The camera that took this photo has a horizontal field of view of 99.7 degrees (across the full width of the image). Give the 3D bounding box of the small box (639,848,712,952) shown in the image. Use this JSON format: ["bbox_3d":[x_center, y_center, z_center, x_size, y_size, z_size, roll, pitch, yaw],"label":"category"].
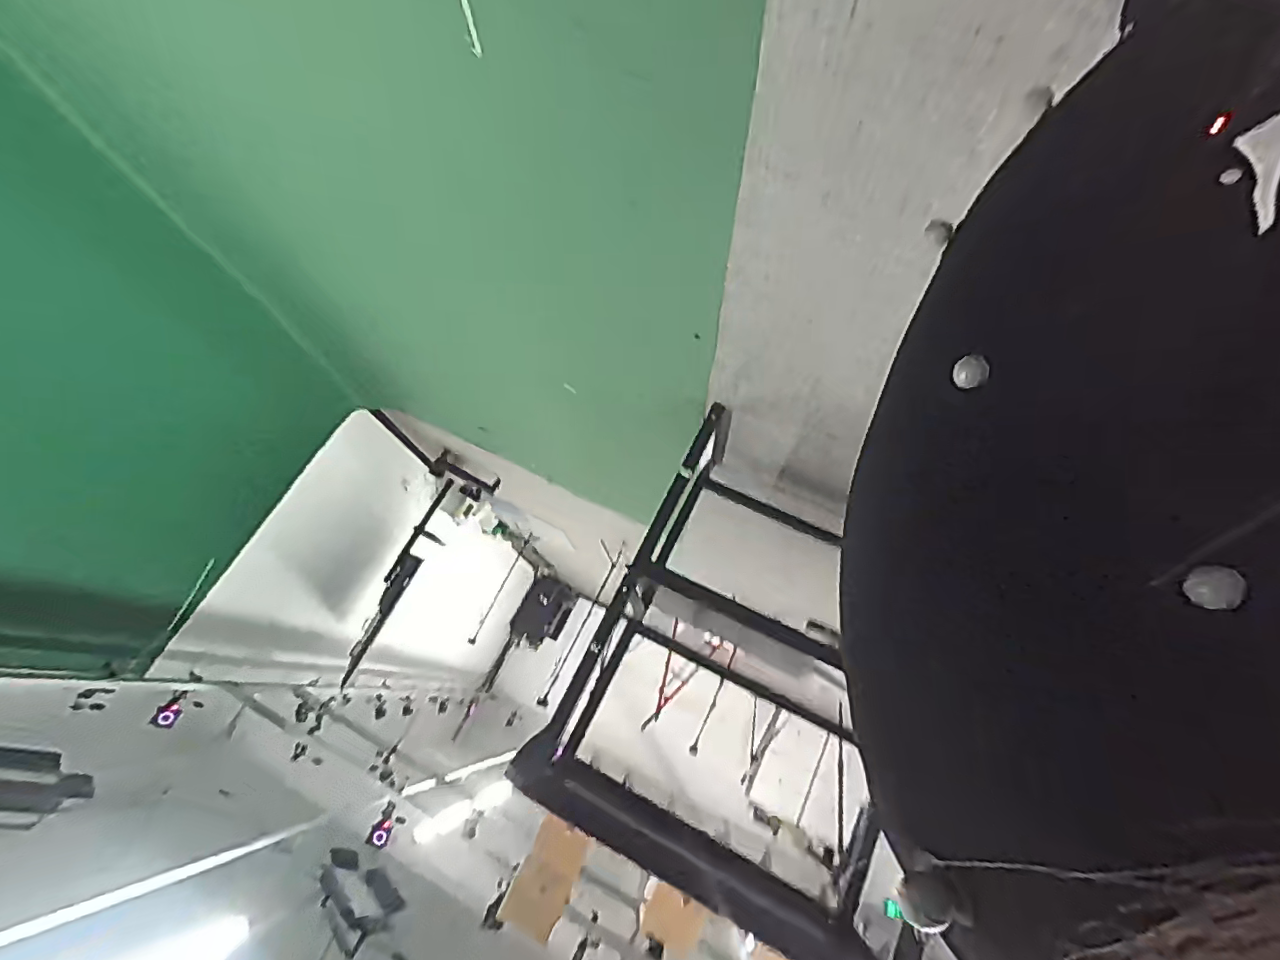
[{"bbox_3d":[0.107,1.265,1.648,0.168,0.176,0.179,26,162,9],"label":"small box"}]

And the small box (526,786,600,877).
[{"bbox_3d":[-0.238,1.108,1.723,0.168,0.176,0.179,25,161,8],"label":"small box"}]

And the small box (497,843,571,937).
[{"bbox_3d":[-0.313,1.246,1.673,0.168,0.176,0.179,25,161,8],"label":"small box"}]
